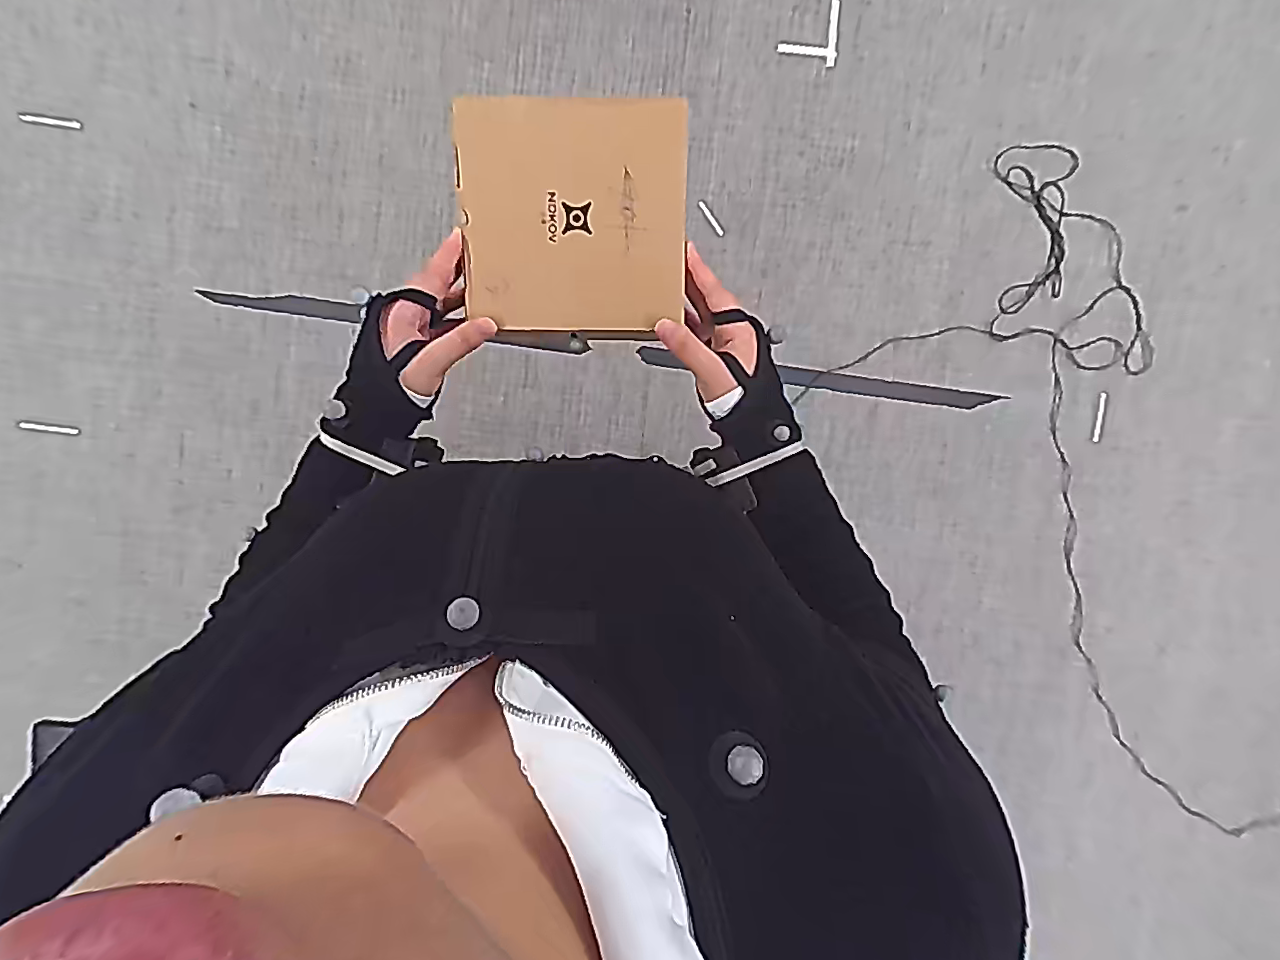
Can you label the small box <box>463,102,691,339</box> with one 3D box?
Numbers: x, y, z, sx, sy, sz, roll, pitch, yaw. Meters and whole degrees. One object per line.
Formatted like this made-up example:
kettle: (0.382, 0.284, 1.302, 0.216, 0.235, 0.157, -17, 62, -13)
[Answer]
small box: (-0.048, -0.219, 0.501, 0.179, 0.176, 0.168, 0, 102, 0)
